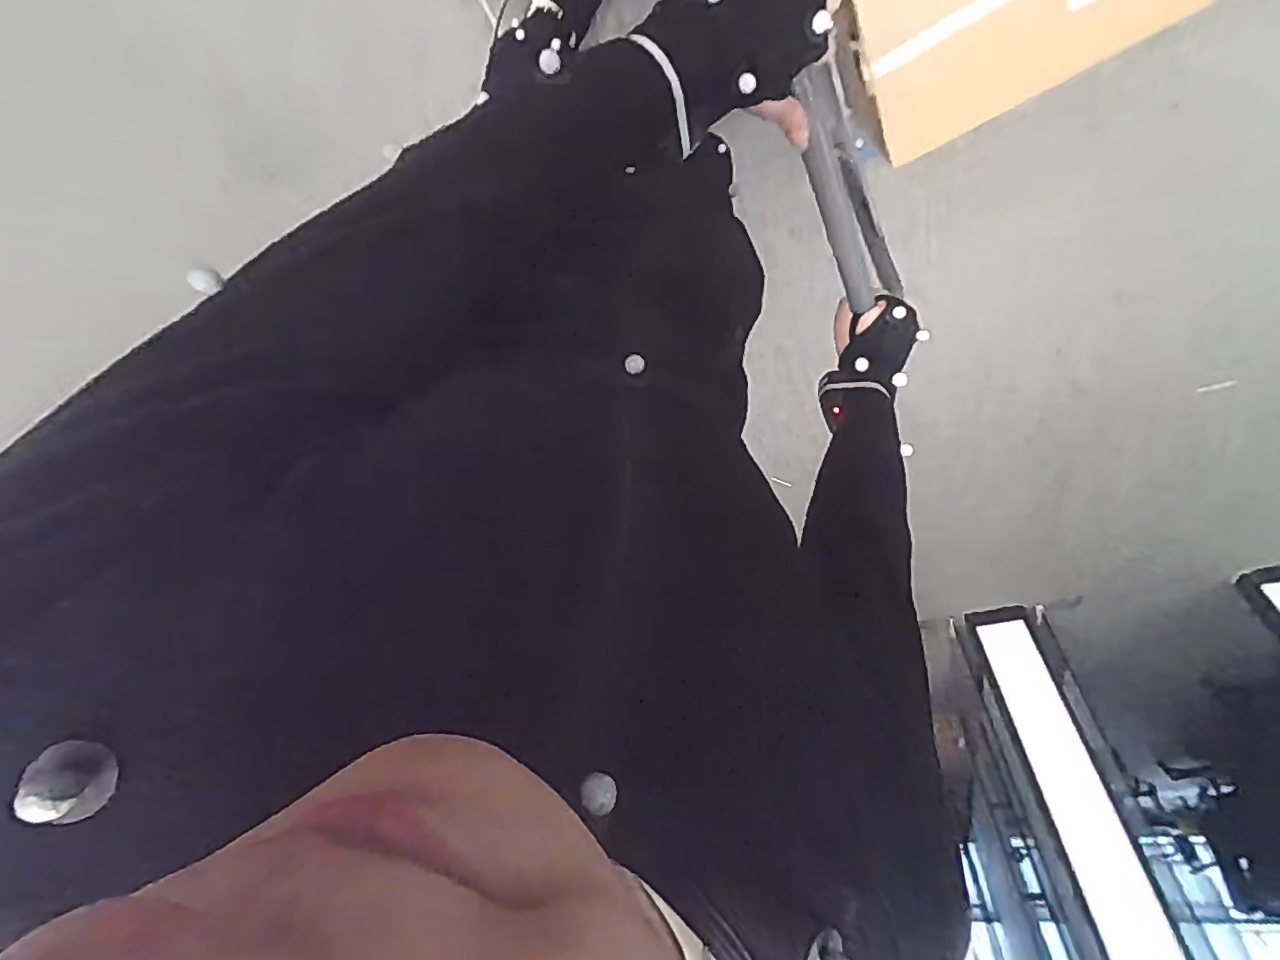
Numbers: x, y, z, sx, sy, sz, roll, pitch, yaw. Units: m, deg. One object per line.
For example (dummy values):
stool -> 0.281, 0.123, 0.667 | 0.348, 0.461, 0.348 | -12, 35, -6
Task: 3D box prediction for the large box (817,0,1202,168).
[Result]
large box -> 0.497, -0.761, 0.793 | 0.408, 0.320, 0.320 | -21, 135, 23
